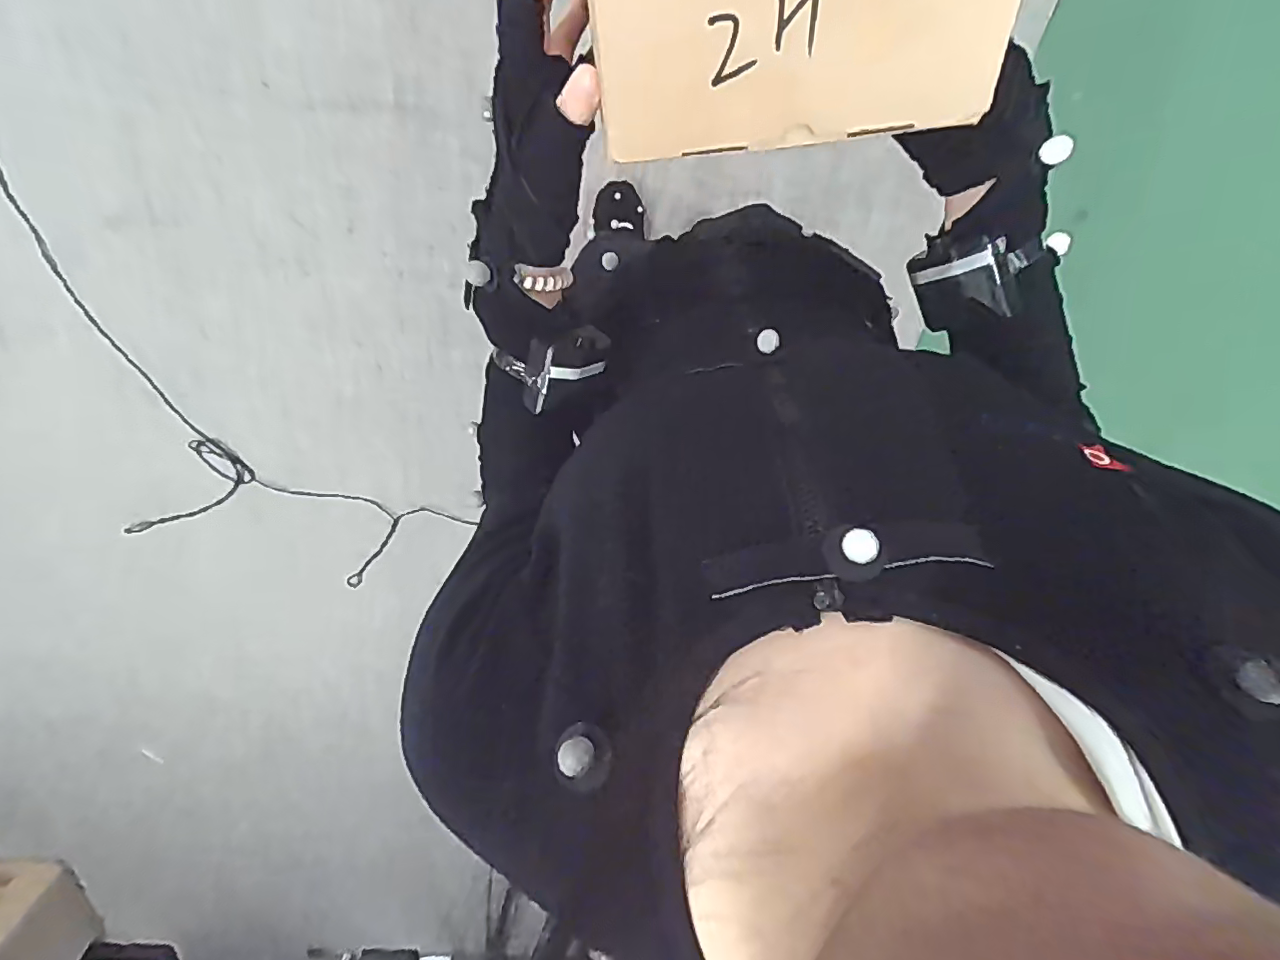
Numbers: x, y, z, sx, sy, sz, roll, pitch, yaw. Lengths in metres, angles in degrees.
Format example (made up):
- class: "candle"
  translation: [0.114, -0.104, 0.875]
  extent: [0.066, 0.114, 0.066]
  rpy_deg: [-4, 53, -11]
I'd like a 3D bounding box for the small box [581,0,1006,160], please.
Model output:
- class: "small box"
  translation: [0.051, -0.265, 0.243]
  extent: [0.168, 0.176, 0.179]
  rpy_deg: [-7, 130, 1]
